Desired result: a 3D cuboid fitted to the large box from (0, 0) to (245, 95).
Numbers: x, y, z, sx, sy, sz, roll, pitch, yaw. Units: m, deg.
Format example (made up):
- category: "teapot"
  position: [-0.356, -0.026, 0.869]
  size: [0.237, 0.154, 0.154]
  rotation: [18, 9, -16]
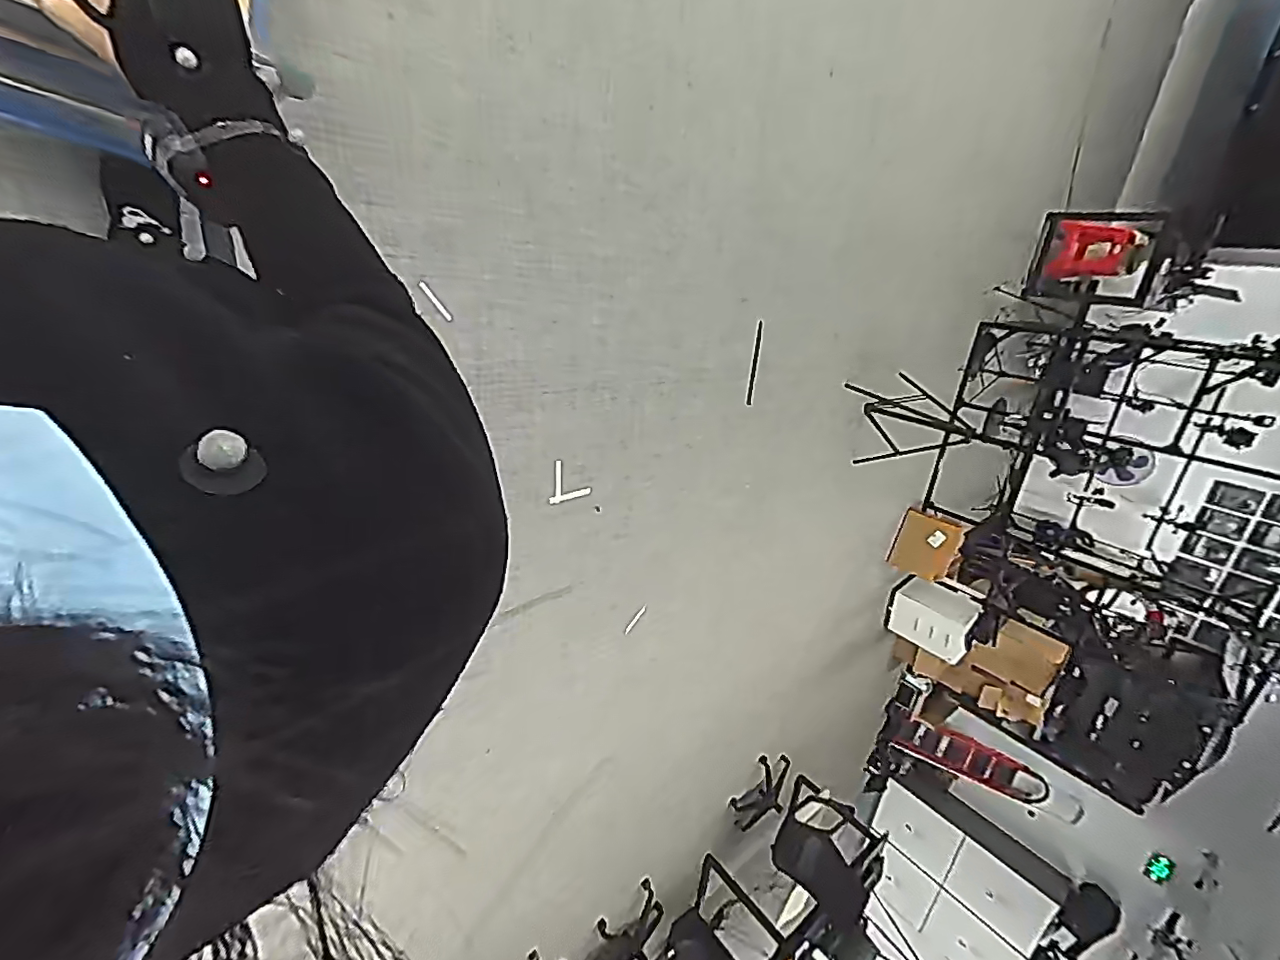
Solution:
- category: "large box"
  position: [-0.746, -0.736, 0.648]
  size: [0.408, 0.320, 0.320]
  rotation: [-3, 113, -43]
